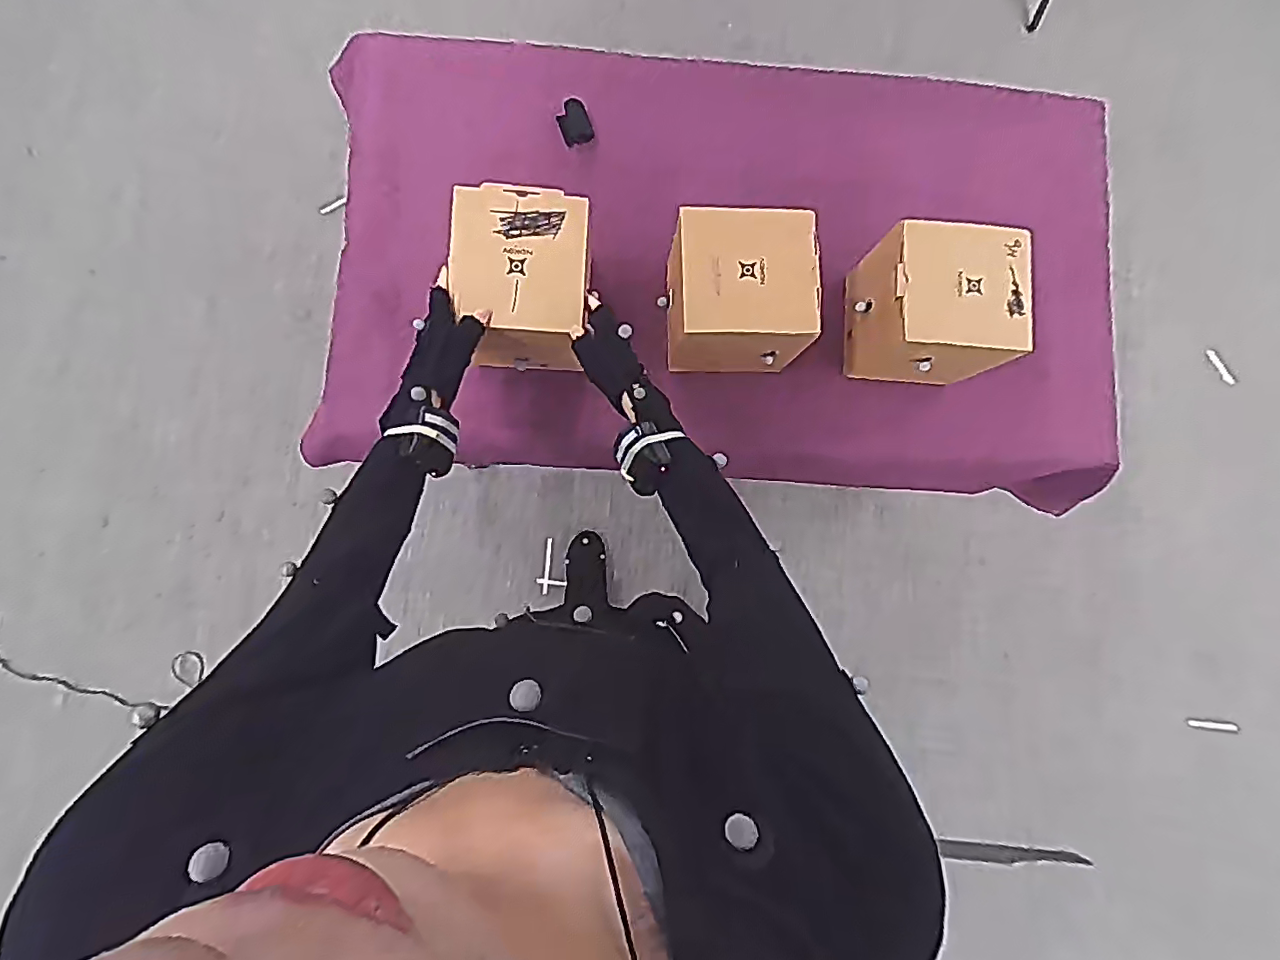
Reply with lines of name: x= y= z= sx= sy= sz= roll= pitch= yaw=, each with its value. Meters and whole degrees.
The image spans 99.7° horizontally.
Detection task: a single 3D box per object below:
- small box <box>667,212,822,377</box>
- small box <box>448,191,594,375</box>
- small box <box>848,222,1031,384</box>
small box: x=0.135 y=-0.249 z=0.758 sx=0.179 sy=0.176 sz=0.168 roll=-2 pitch=83 yaw=-3
small box: x=-0.150 y=-0.255 z=0.736 sx=0.168 sy=0.176 sz=0.179 roll=3 pitch=85 yaw=-4
small box: x=0.414 y=-0.241 z=0.775 sx=0.179 sy=0.176 sz=0.168 roll=3 pitch=84 yaw=-3
